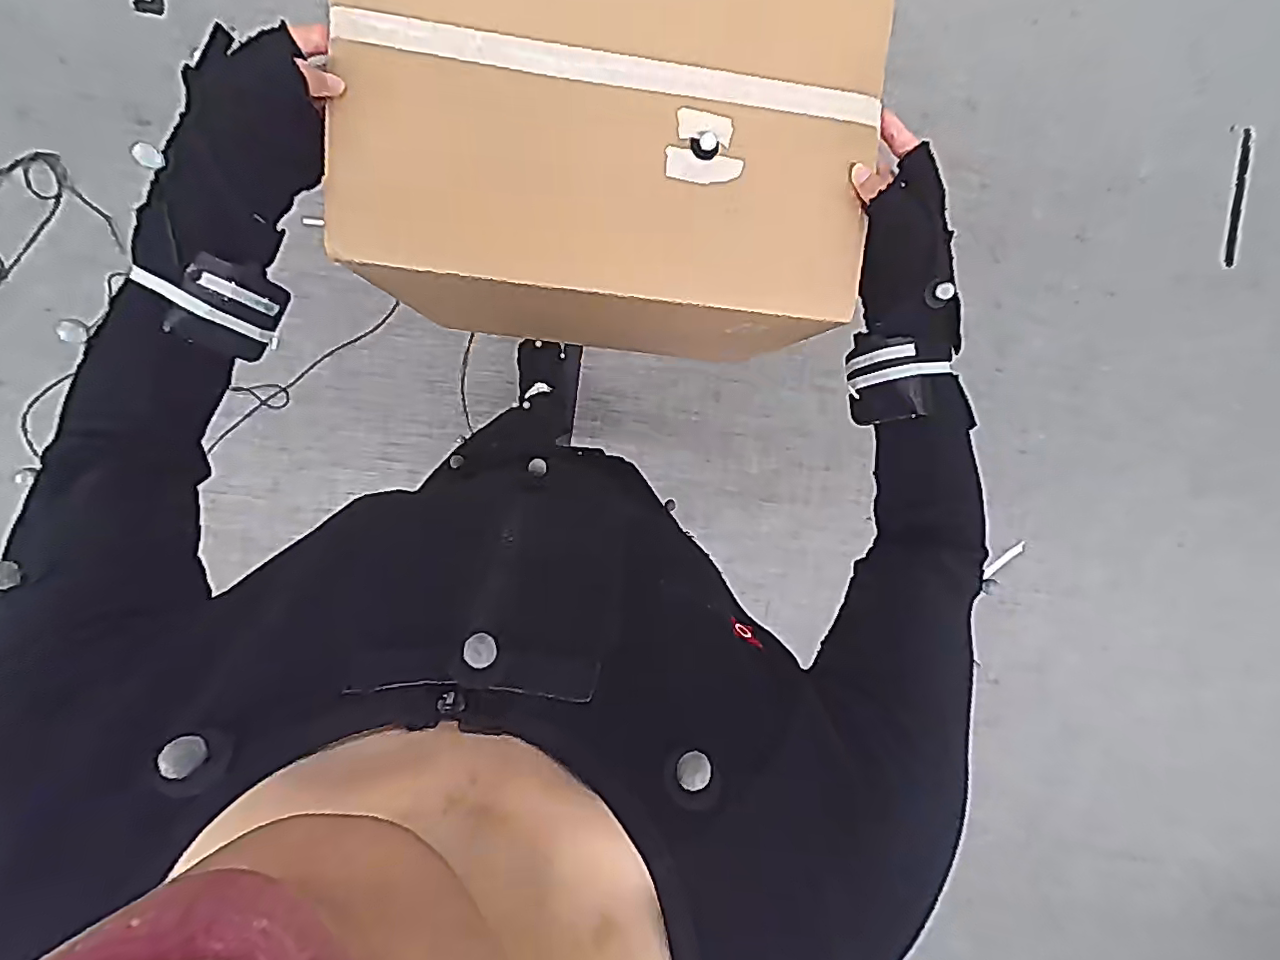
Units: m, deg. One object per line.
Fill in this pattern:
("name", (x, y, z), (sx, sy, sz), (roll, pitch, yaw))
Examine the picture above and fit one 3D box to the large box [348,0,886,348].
("large box", (-0.028, -0.327, 0.556), (0.408, 0.320, 0.320), (4, 97, -7))
